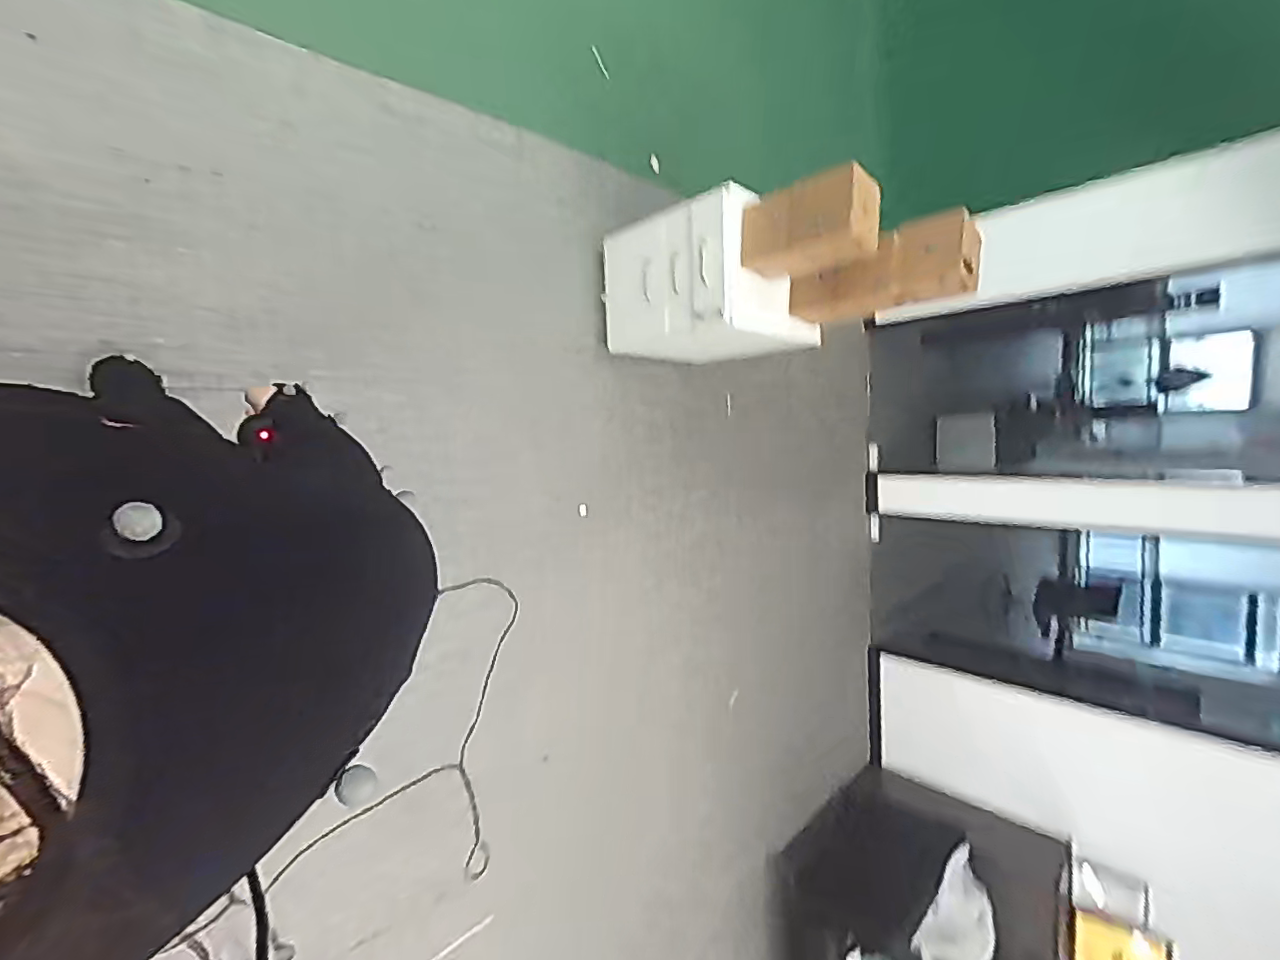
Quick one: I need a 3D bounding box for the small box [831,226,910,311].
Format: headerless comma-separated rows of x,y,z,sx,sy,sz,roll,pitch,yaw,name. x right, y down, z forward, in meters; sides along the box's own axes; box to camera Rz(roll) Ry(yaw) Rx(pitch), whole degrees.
0.689,-0.625,1.621,0.168,0.176,0.179,2,91,-44,small box

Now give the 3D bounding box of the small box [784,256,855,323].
0.580,-0.625,1.741,0.168,0.176,0.179,4,89,-44,small box

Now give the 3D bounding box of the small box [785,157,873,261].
0.497,-0.704,1.431,0.168,0.176,0.179,1,91,-46,small box

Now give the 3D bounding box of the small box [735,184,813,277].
0.386,-0.707,1.550,0.168,0.176,0.179,1,92,-45,small box
